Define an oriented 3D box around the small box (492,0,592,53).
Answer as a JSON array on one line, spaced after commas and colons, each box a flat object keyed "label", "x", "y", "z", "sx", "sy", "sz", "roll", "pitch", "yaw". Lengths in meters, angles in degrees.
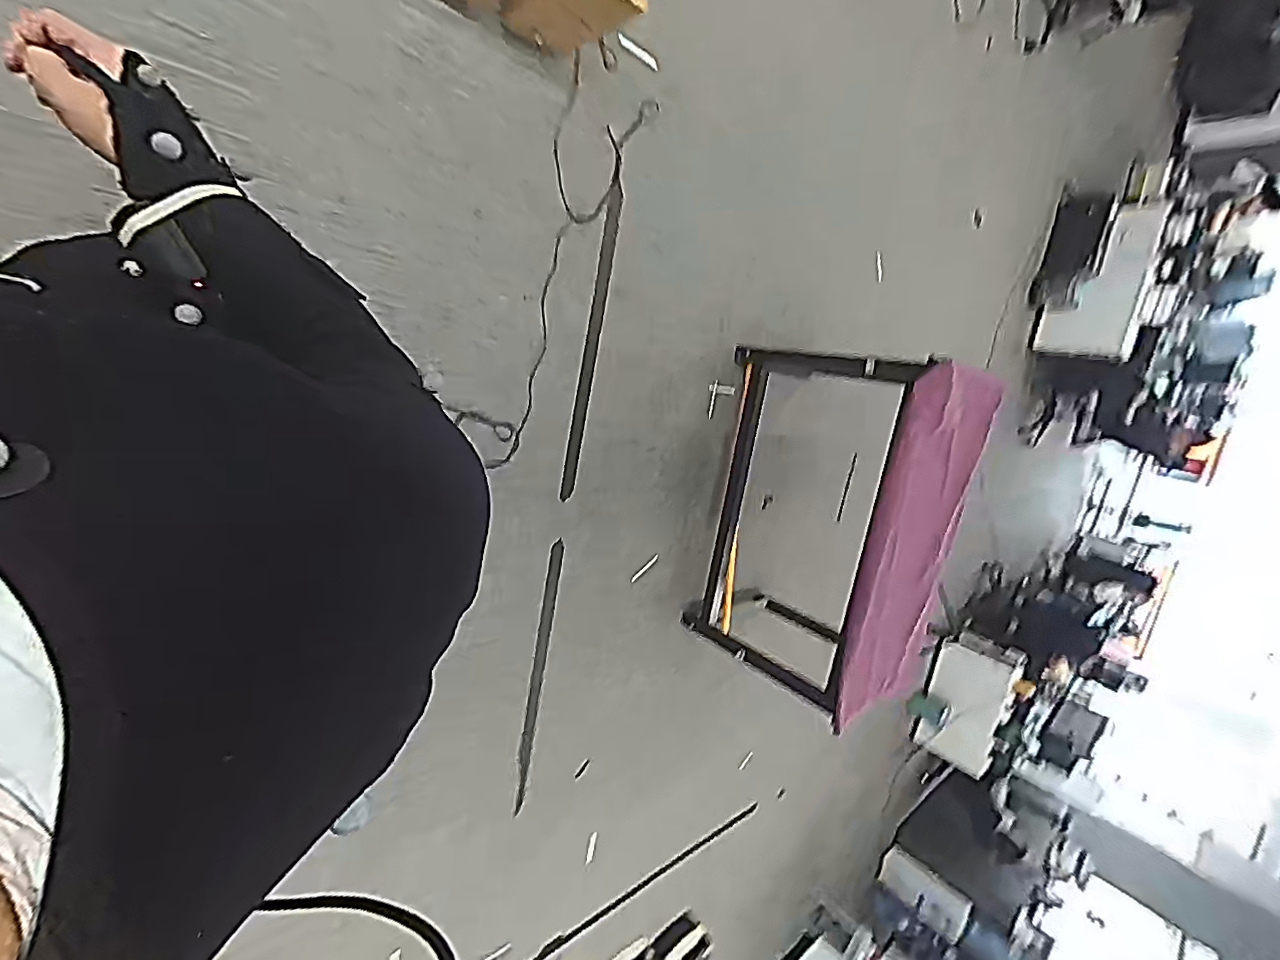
[{"label": "small box", "x": -0.220, "y": -1.127, "z": 1.227, "sx": 0.168, "sy": 0.176, "sz": 0.179, "roll": -2, "pitch": 107, "yaw": -42}]
